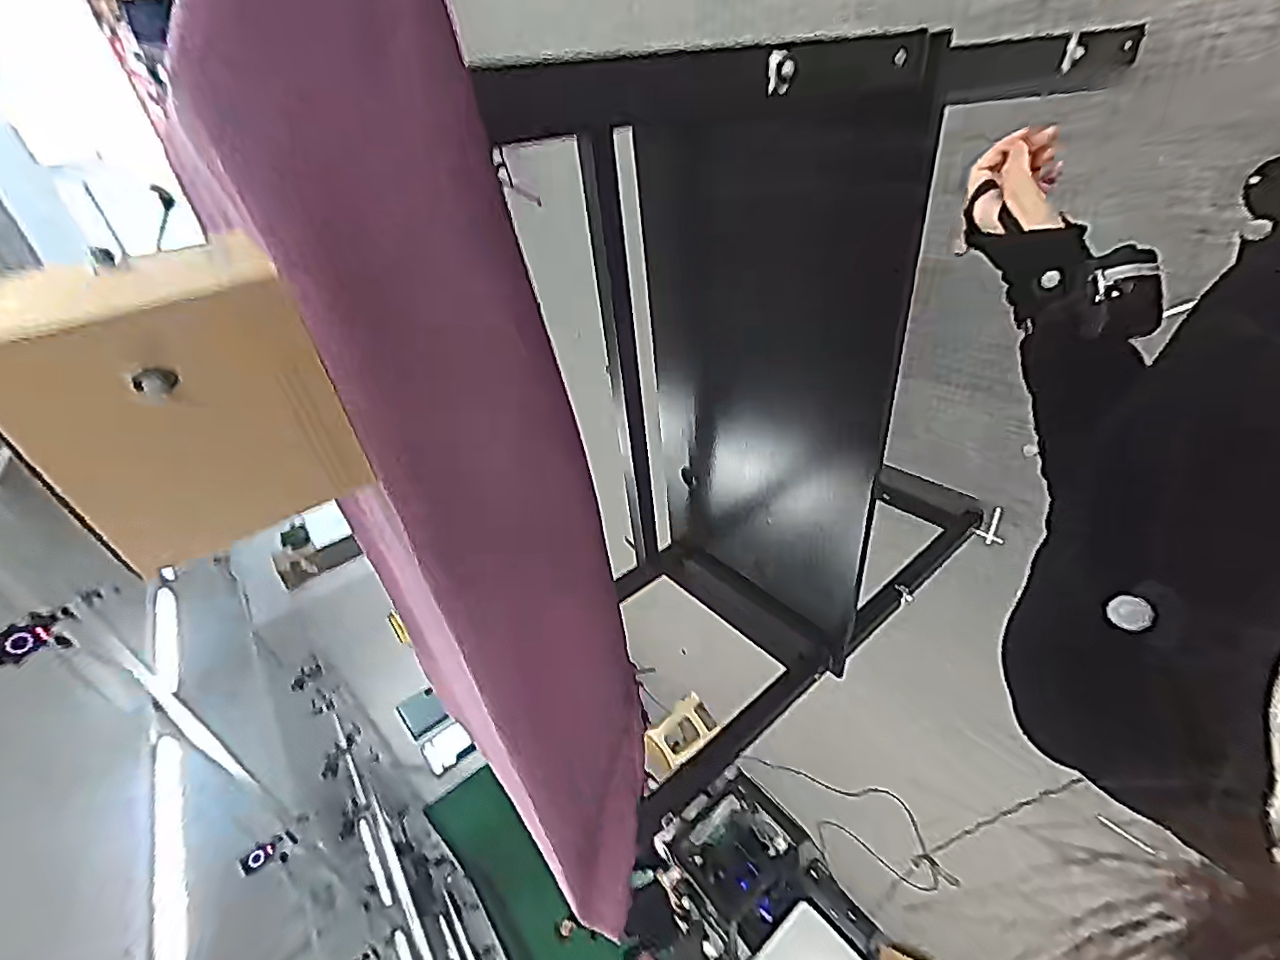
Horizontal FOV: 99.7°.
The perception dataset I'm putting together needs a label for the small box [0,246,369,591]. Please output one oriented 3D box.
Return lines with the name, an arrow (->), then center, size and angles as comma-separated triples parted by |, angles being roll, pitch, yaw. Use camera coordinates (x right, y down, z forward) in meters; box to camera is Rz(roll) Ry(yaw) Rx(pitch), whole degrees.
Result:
small box -> -0.338, -0.060, 0.408 | 0.168, 0.176, 0.179 | 37, 145, 39
